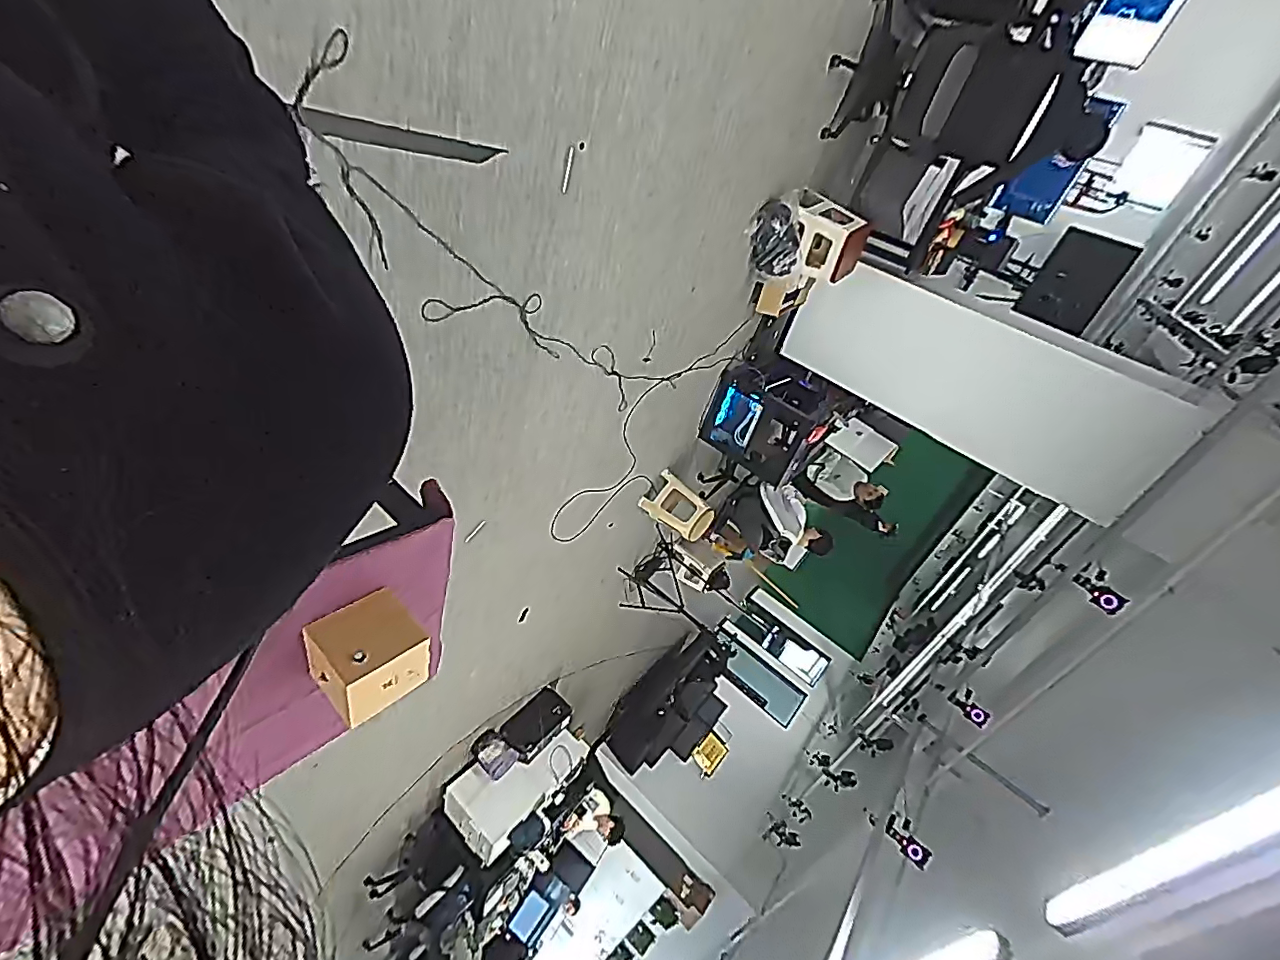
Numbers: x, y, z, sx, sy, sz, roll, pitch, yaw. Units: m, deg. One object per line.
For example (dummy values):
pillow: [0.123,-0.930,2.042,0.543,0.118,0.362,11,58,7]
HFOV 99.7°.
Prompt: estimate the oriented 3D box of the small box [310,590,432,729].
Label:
small box: [-0.562,0.367,1.128,0.179,0.176,0.168,-29,148,-45]
